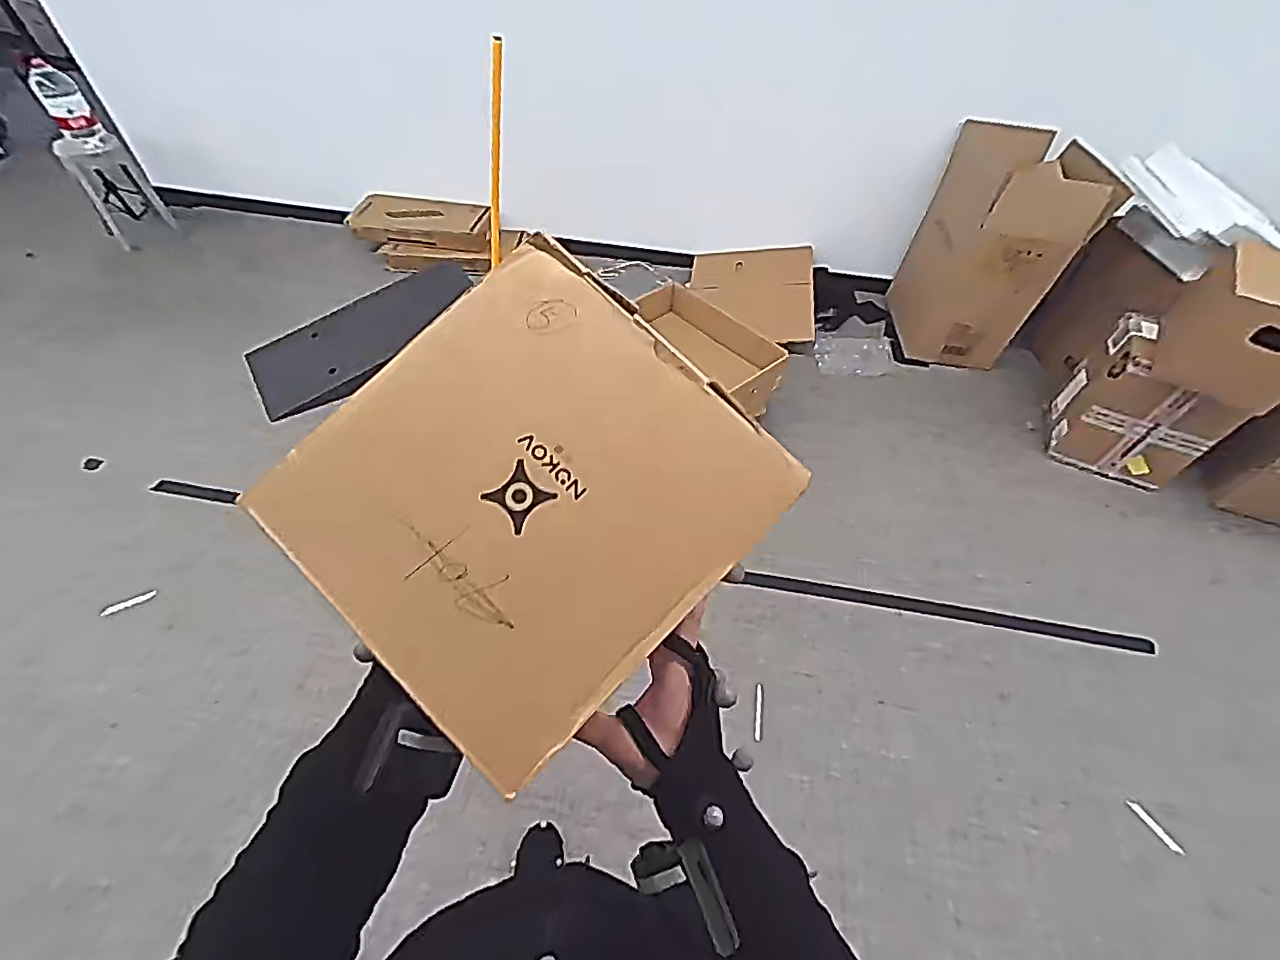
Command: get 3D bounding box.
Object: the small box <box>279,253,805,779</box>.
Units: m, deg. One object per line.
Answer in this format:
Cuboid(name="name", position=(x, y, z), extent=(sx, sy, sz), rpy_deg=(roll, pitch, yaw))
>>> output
Cuboid(name="small box", position=(-0.042, 0.019, 0.315), extent=(0.168, 0.176, 0.179), rpy_deg=(43, 83, 8))
